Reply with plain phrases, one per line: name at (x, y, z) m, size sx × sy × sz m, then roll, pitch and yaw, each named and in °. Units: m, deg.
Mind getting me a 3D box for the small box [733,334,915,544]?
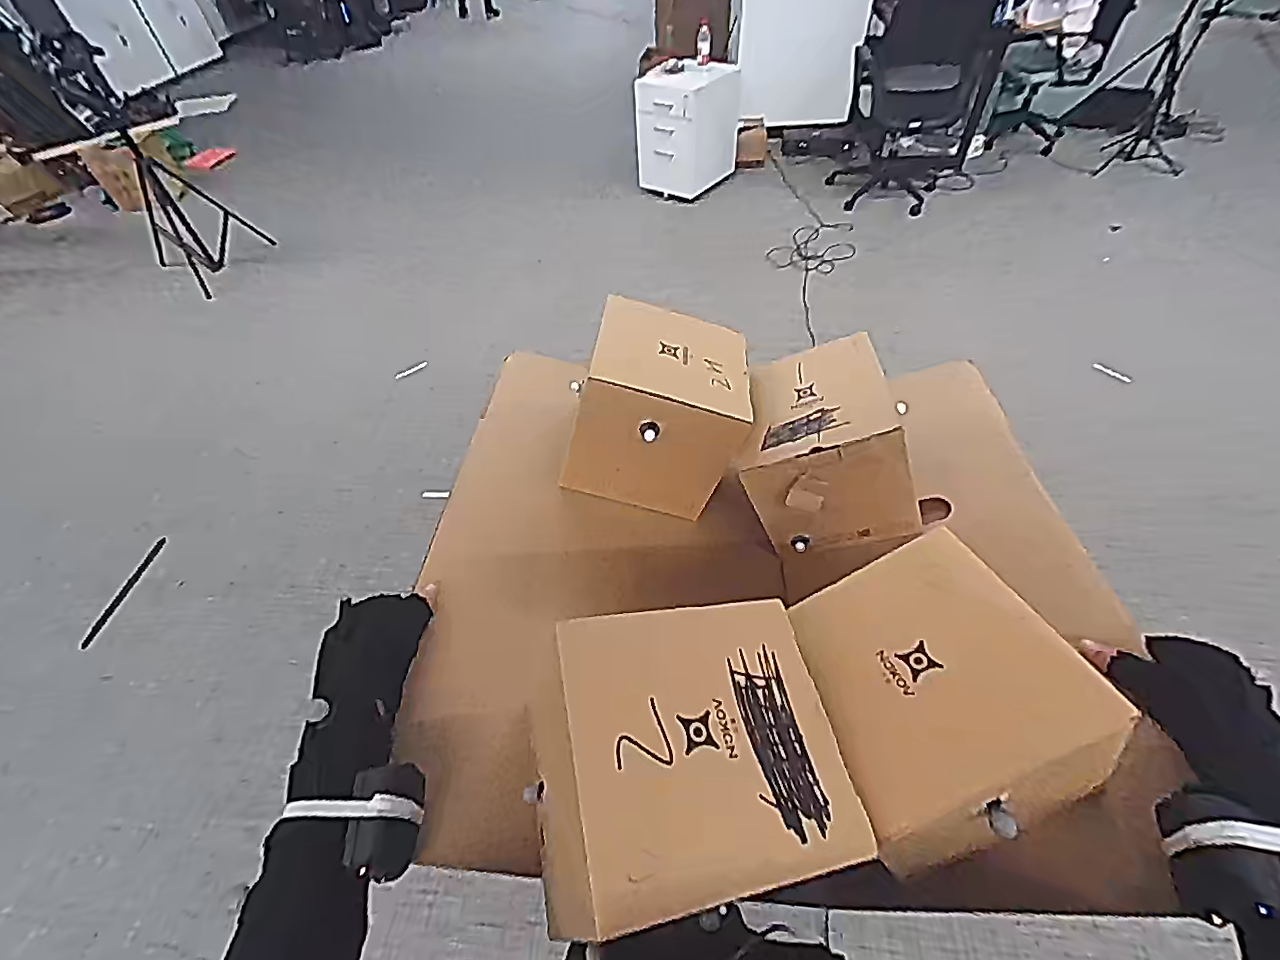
small box at (0.220, -0.039, 0.658) m, size 0.168 × 0.176 × 0.179 m, roll -15°, pitch 42°, yaw 22°
